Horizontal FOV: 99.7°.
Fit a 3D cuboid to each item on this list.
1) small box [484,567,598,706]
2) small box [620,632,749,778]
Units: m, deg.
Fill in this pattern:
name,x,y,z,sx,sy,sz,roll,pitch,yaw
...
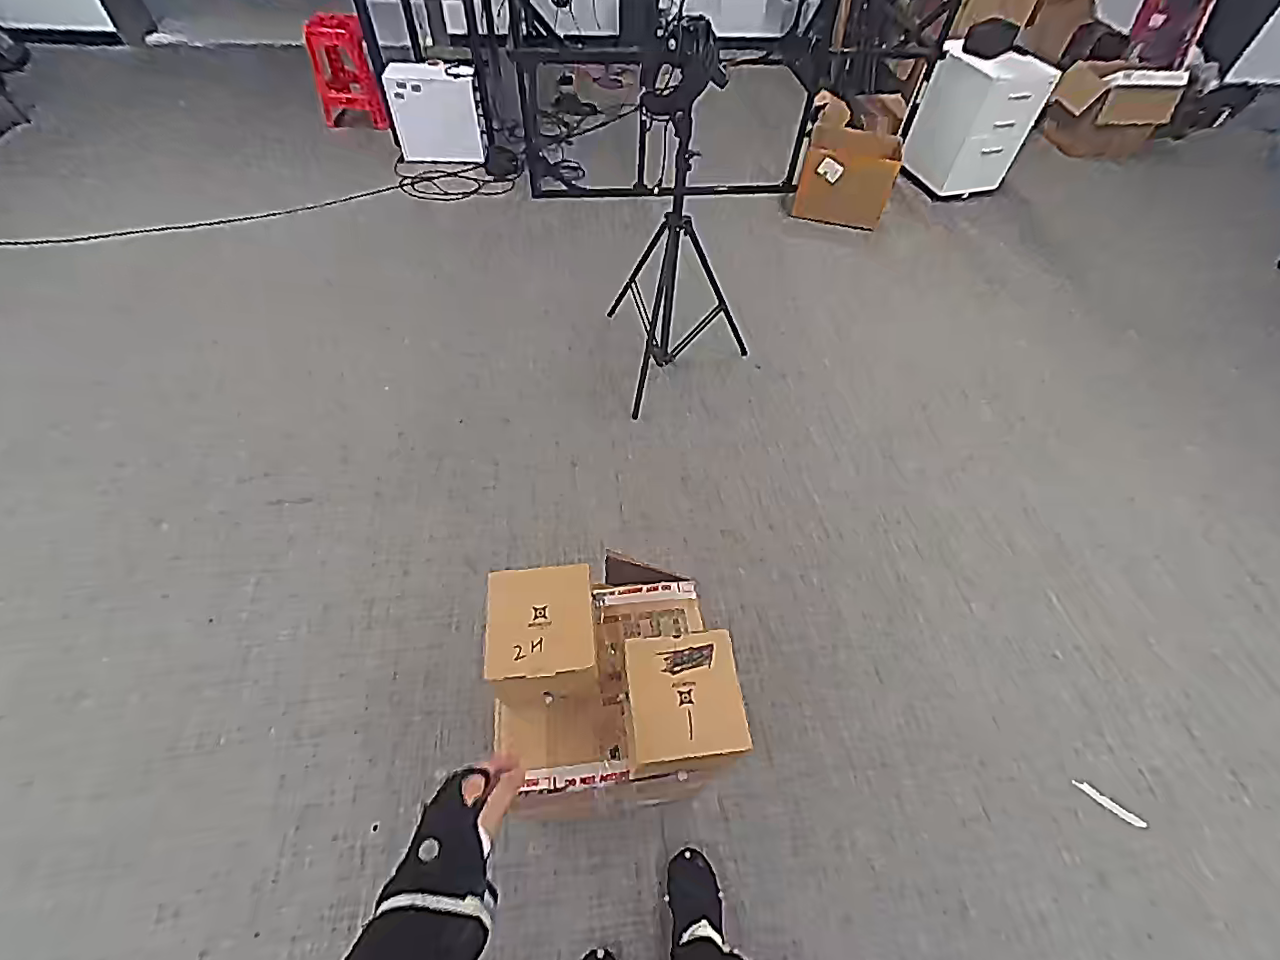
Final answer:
name,x,y,z,sx,sy,sz,roll,pitch,yaw
small box,-0.160,0.266,0.914,0.168,0.176,0.179,-5,56,-4
small box,0.058,0.360,0.861,0.168,0.176,0.179,-4,56,-7
